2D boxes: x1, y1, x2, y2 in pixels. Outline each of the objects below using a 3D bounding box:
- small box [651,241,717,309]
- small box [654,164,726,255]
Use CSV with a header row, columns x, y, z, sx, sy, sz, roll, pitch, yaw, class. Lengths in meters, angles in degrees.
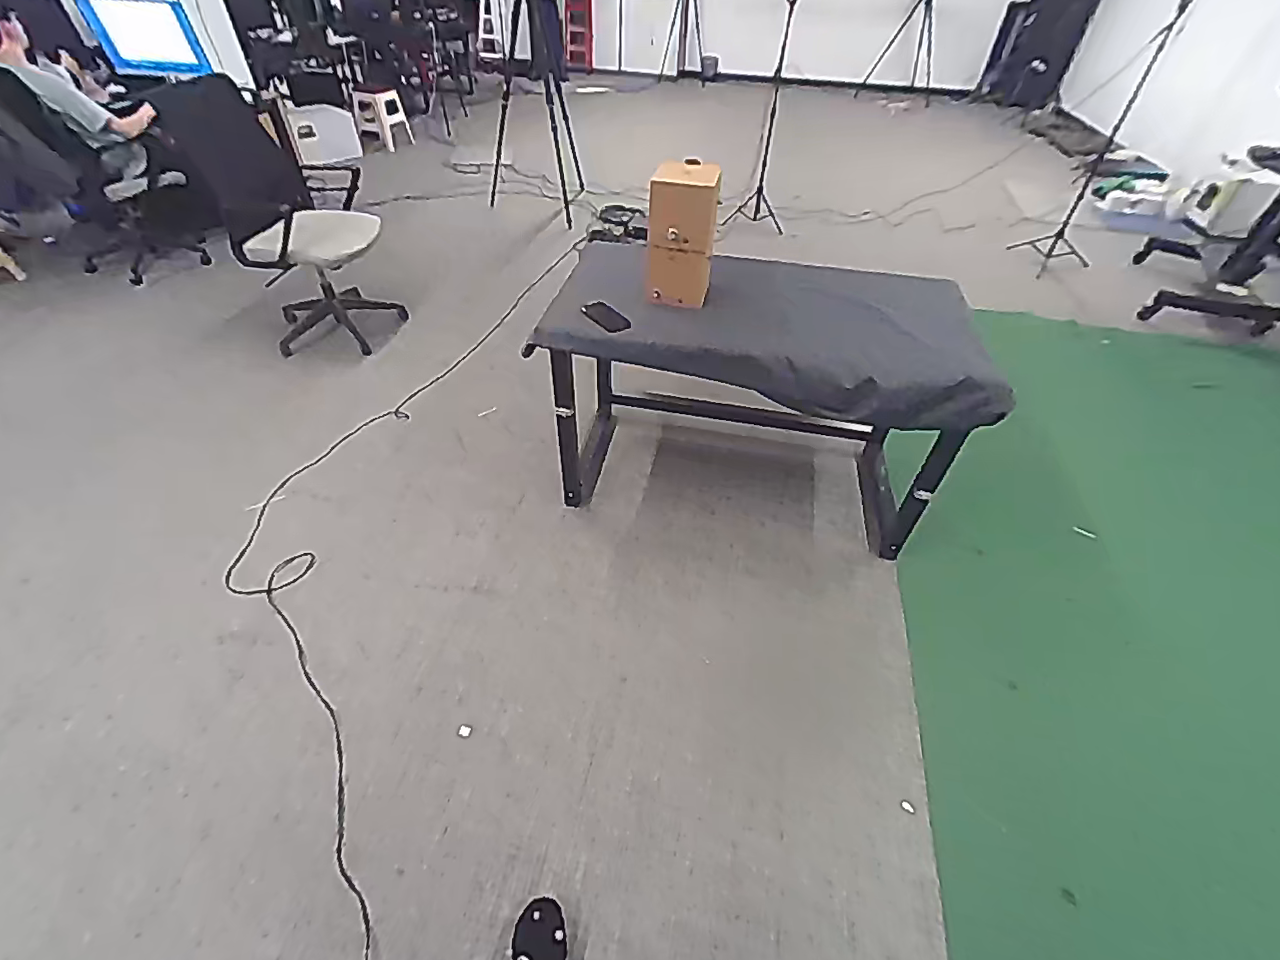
x,y,z,sx,sy,sz,roll,pitch,yaw,class
0.127,-0.616,1.573,0.168,0.176,0.179,11,44,8,small box
0.132,-0.728,1.456,0.168,0.176,0.179,9,46,8,small box
